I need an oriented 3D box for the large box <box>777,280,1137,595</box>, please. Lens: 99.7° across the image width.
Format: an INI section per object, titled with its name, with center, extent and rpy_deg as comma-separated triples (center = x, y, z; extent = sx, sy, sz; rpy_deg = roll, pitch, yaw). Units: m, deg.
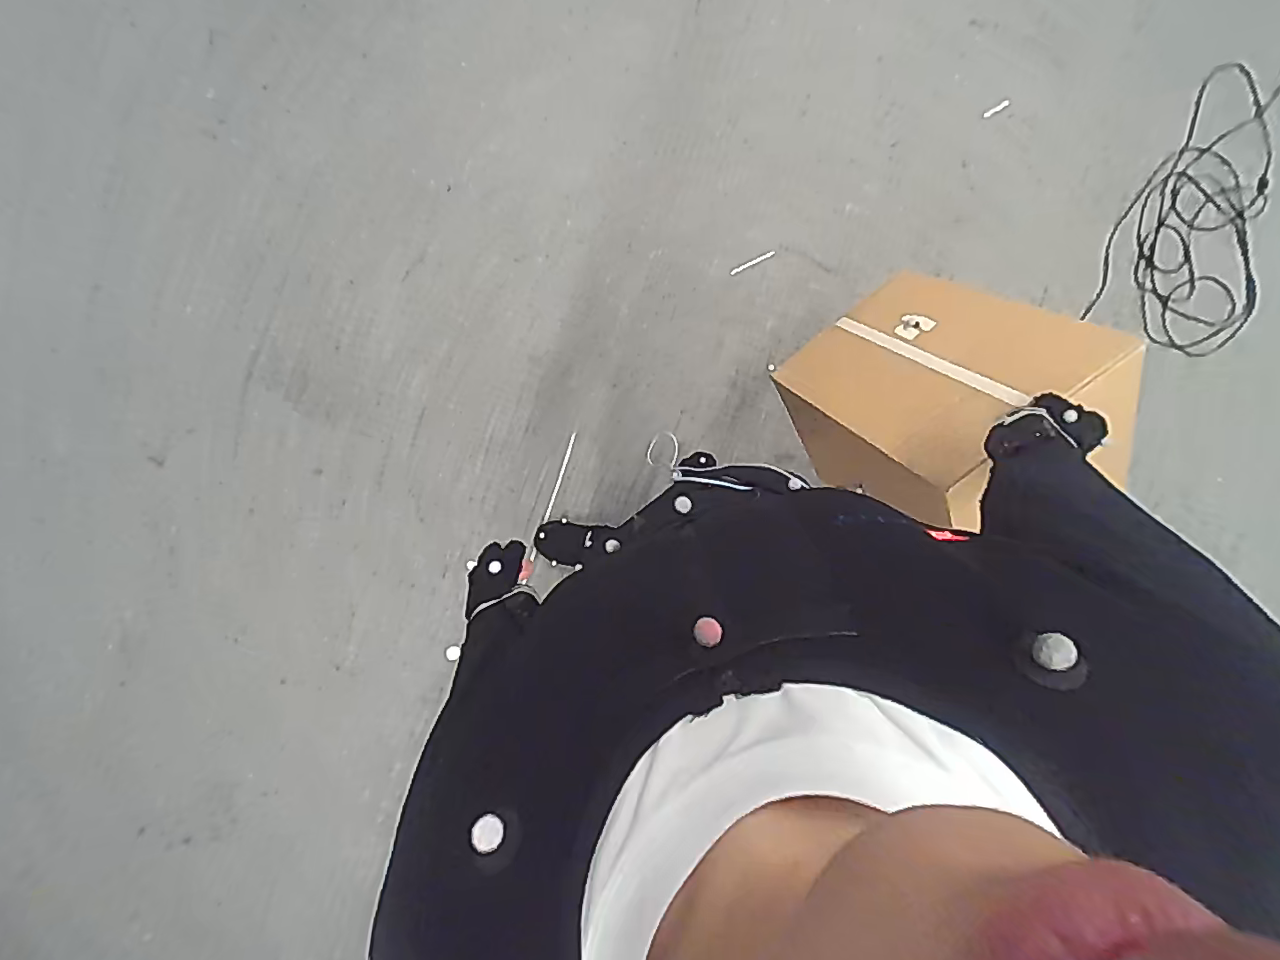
[large box]
center = 0.518, -0.086, 0.934
extent = 0.320, 0.408, 0.320
rpy_deg = -36, 129, 1
